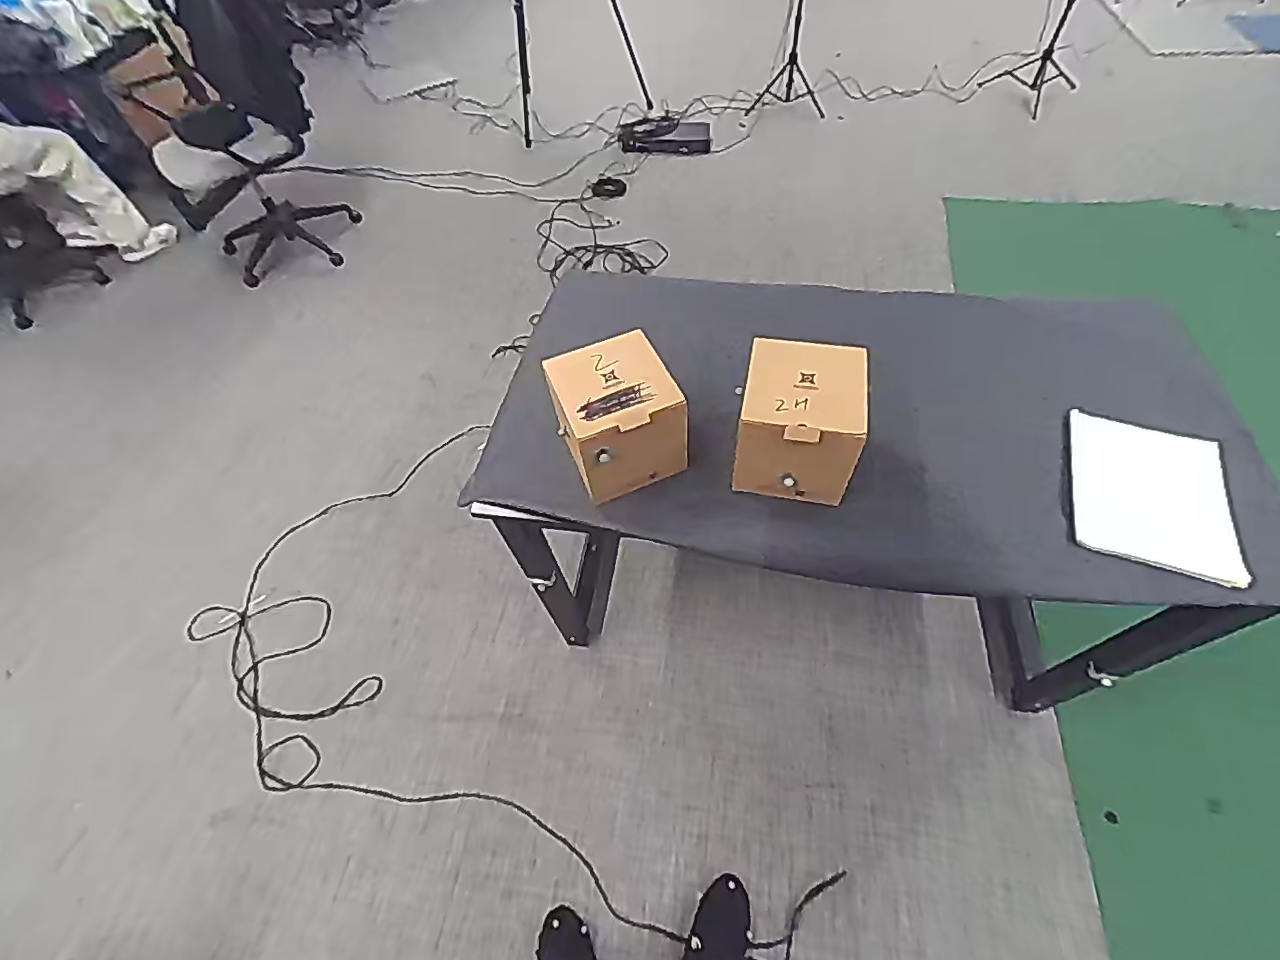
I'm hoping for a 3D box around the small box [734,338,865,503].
[{"bbox_3d":[0.239,-0.090,0.829,0.168,0.176,0.179,8,56,12],"label":"small box"}]
